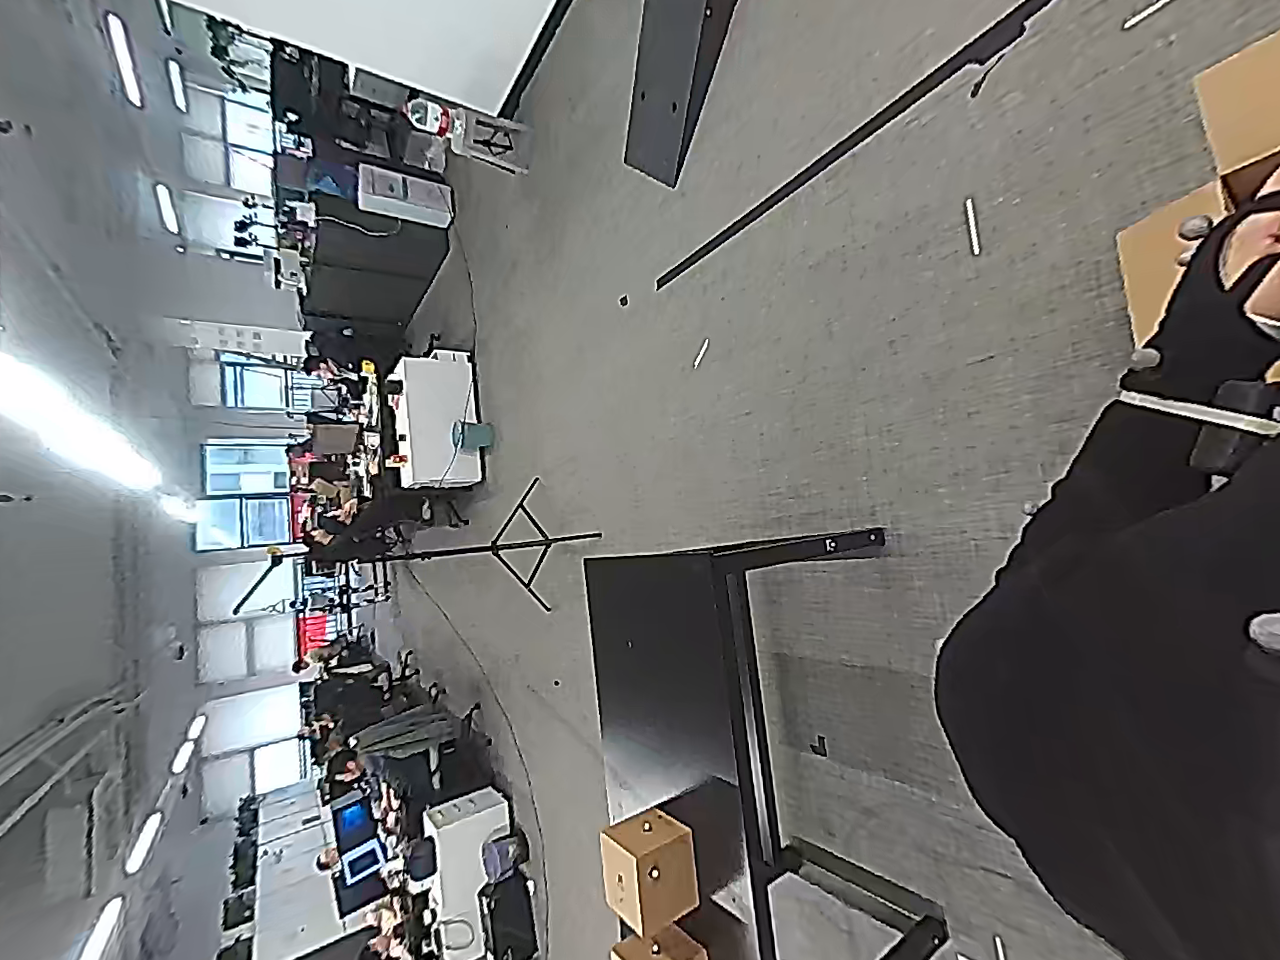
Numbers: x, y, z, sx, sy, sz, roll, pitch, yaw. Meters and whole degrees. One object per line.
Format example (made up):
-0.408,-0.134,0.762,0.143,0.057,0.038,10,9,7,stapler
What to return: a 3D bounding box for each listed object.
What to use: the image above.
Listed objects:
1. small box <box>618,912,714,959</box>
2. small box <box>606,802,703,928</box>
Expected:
0.068,1.199,1.312,0.179,0.176,0.168,-18,78,54,small box
0.036,0.936,1.338,0.168,0.176,0.179,-16,79,56,small box
